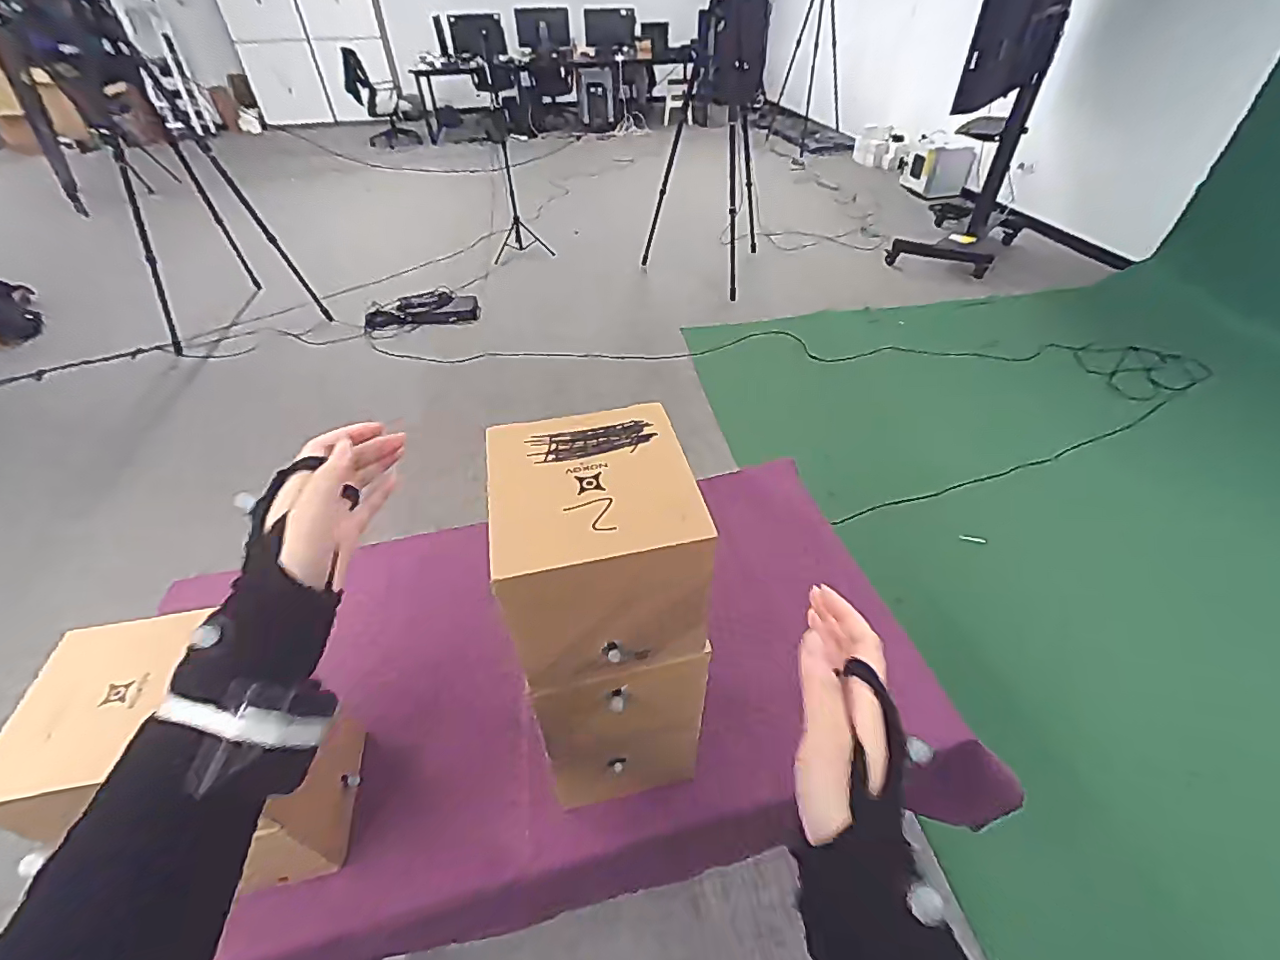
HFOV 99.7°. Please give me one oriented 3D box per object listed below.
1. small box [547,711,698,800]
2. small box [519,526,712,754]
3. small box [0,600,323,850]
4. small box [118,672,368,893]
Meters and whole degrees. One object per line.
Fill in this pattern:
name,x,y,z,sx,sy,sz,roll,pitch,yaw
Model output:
small box,-0.029,0.299,0.719,0.179,0.176,0.168,-9,44,-8
small box,-0.030,0.180,0.608,0.179,0.176,0.168,-11,44,-8
small box,-0.460,0.249,0.551,0.179,0.176,0.168,-8,44,-6
small box,-0.456,0.368,0.663,0.168,0.176,0.179,-9,43,-7
